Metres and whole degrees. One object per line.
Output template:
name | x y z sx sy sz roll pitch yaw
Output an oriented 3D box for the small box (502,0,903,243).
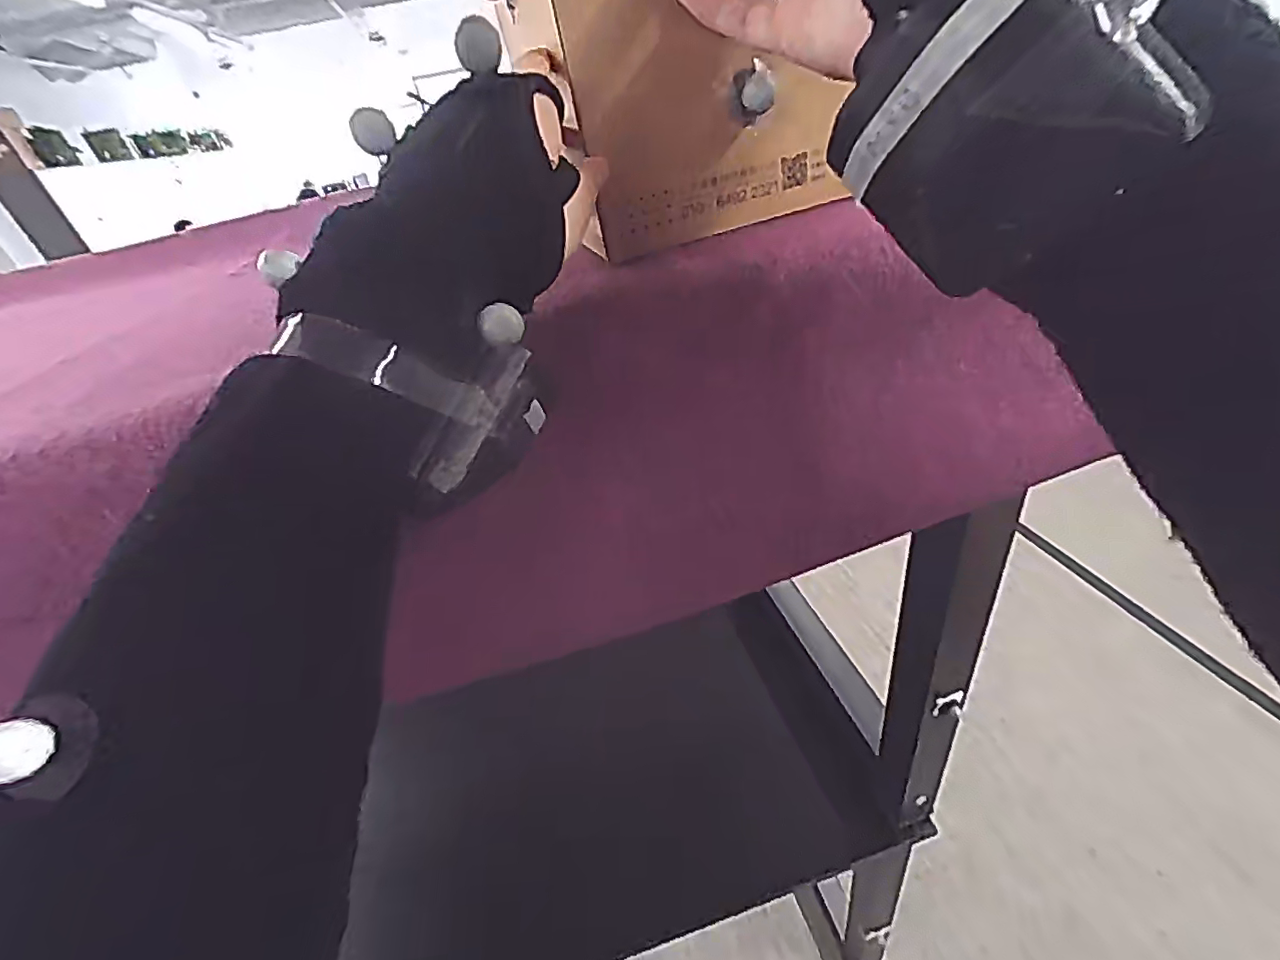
small box | 0.021 -0.244 0.302 0.168 0.176 0.179 -19 35 -8
